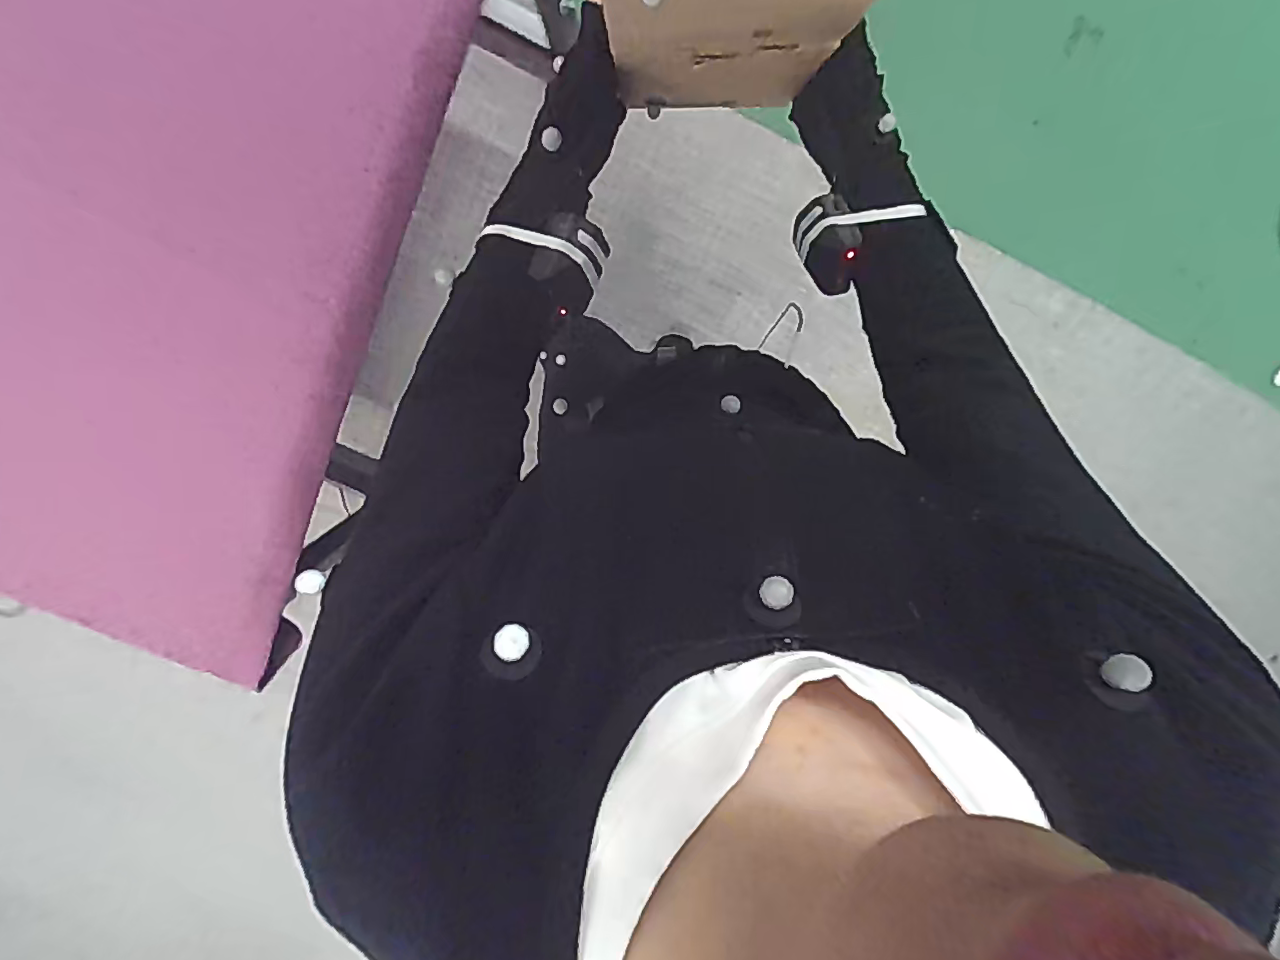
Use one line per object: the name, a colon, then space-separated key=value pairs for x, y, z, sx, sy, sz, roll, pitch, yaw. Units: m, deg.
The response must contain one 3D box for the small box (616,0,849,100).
small box: x=0.068 y=-0.422 z=0.428 sx=0.168 sy=0.176 sz=0.179 roll=0 pitch=112 yaw=1
